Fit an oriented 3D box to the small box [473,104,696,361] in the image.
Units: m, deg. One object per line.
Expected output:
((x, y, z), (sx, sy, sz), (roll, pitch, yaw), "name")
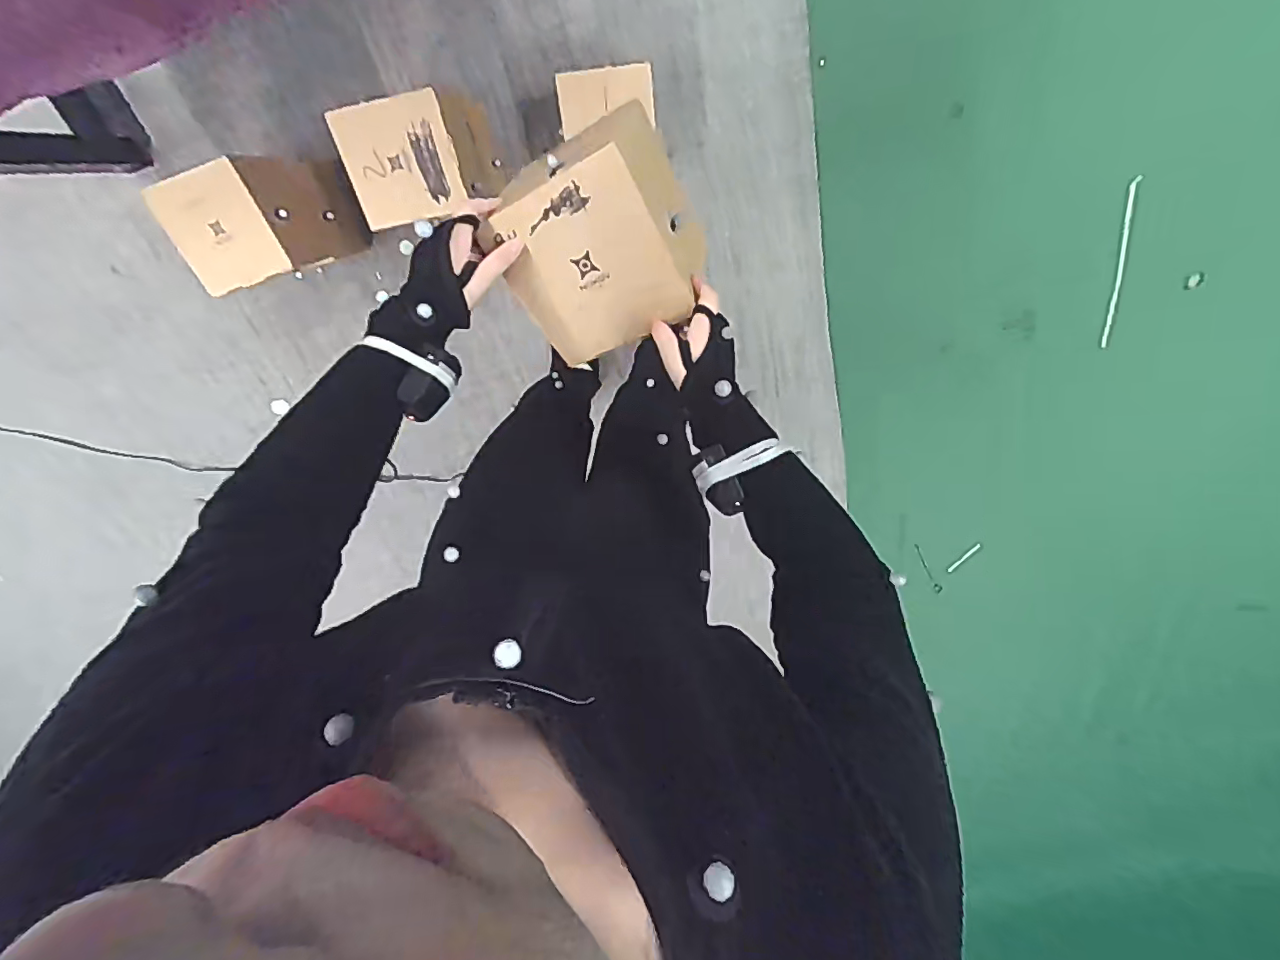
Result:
((-0.045, -0.270, 0.598), (0.168, 0.176, 0.179), (-17, 131, 24), "small box")

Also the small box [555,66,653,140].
((-0.058, -0.661, 1.027), (0.168, 0.176, 0.179), (-5, 119, 2), "small box")
